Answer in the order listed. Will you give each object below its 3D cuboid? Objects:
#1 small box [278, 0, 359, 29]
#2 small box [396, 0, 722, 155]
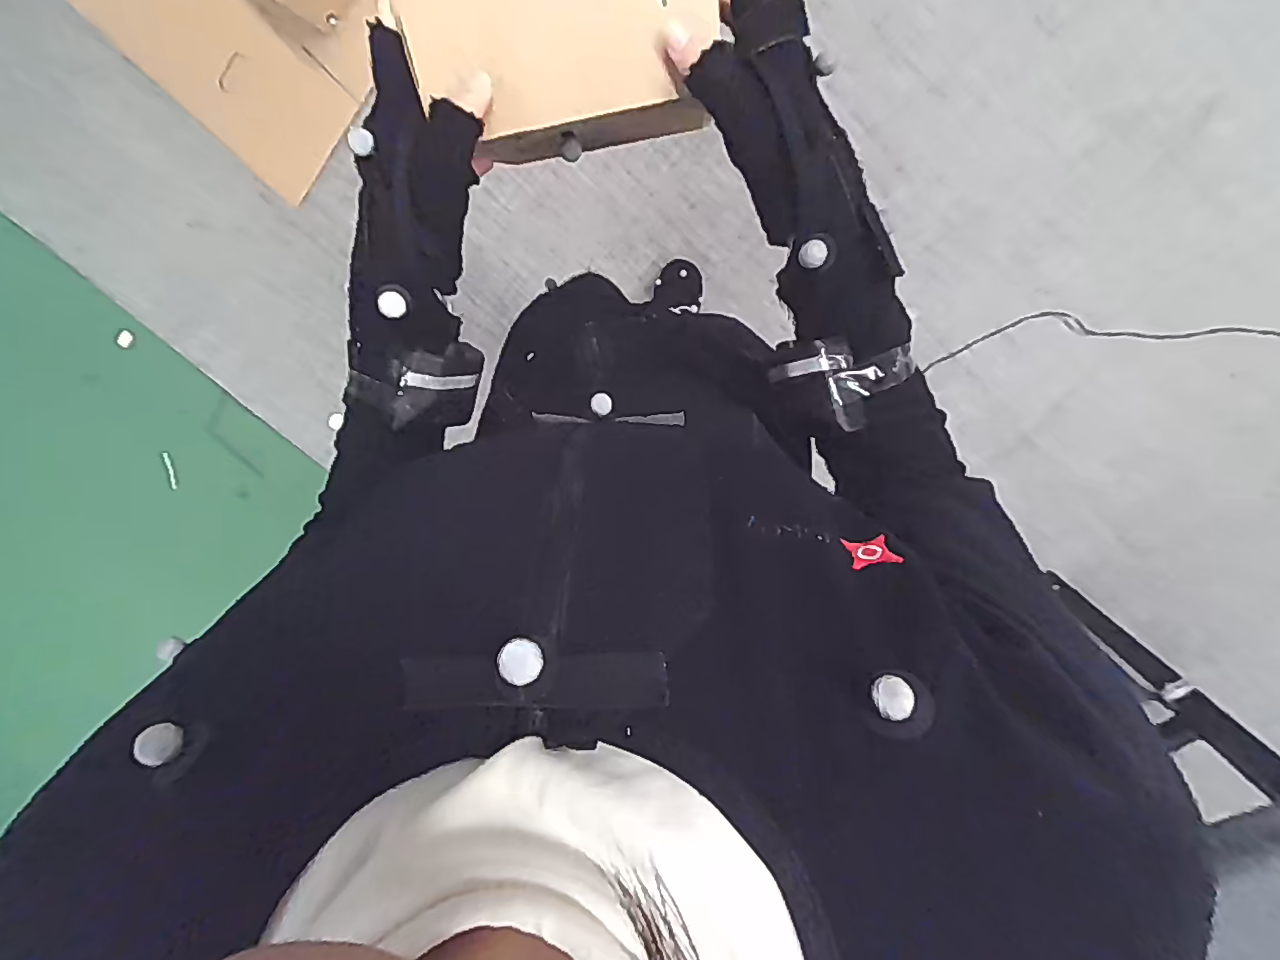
[{"bbox_3d":[-0.652,-1.022,1.037,0.168,0.176,0.179,-38,102,18],"label":"small box"},{"bbox_3d":[-0.047,-0.328,0.348,0.179,0.176,0.168,-9,114,9],"label":"small box"}]
